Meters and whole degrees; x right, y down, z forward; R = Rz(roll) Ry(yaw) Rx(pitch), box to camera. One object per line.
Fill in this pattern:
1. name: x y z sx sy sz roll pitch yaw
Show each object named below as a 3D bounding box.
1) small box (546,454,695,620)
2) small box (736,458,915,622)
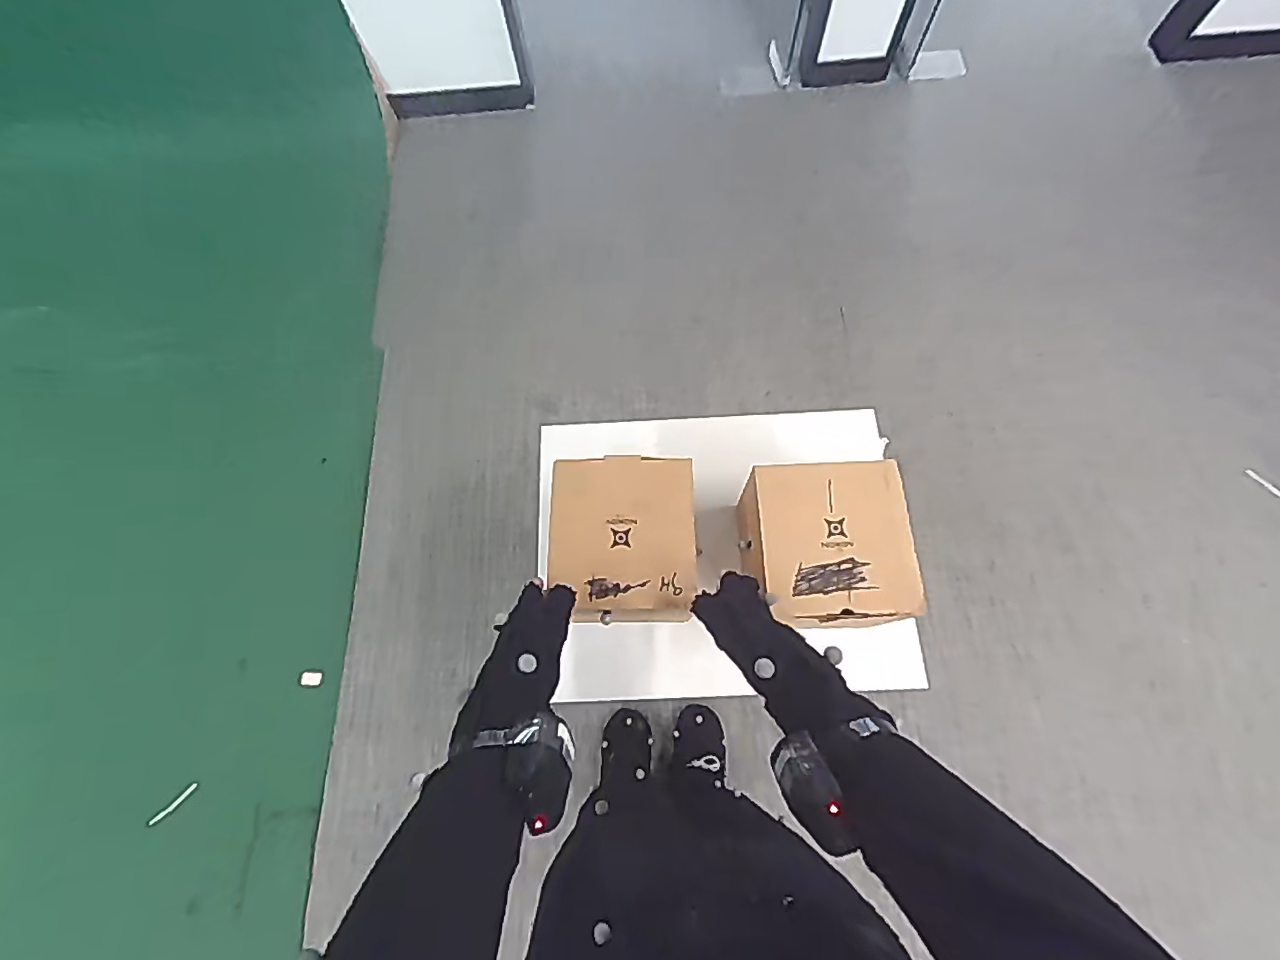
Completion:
1. small box: -0.017 0.080 0.691 0.168 0.176 0.179 -1 70 3
2. small box: 0.215 0.084 0.678 0.168 0.176 0.179 -1 70 2
